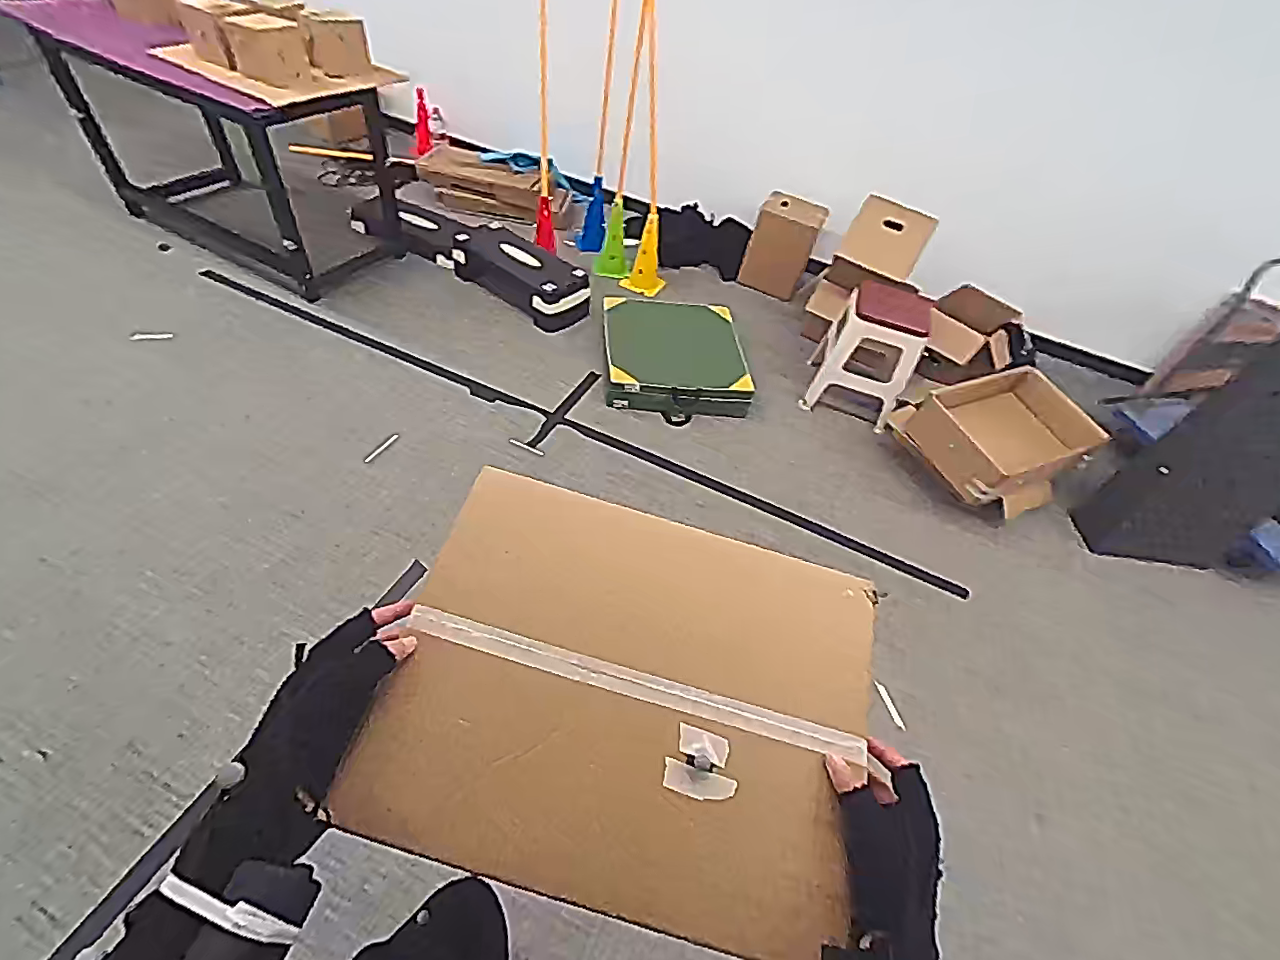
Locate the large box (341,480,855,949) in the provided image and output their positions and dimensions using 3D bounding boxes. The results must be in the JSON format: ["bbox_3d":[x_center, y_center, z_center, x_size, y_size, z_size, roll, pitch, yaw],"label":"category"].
[{"bbox_3d":[-0.025,0.246,0.614,0.408,0.320,0.320,16,62,0],"label":"large box"}]
